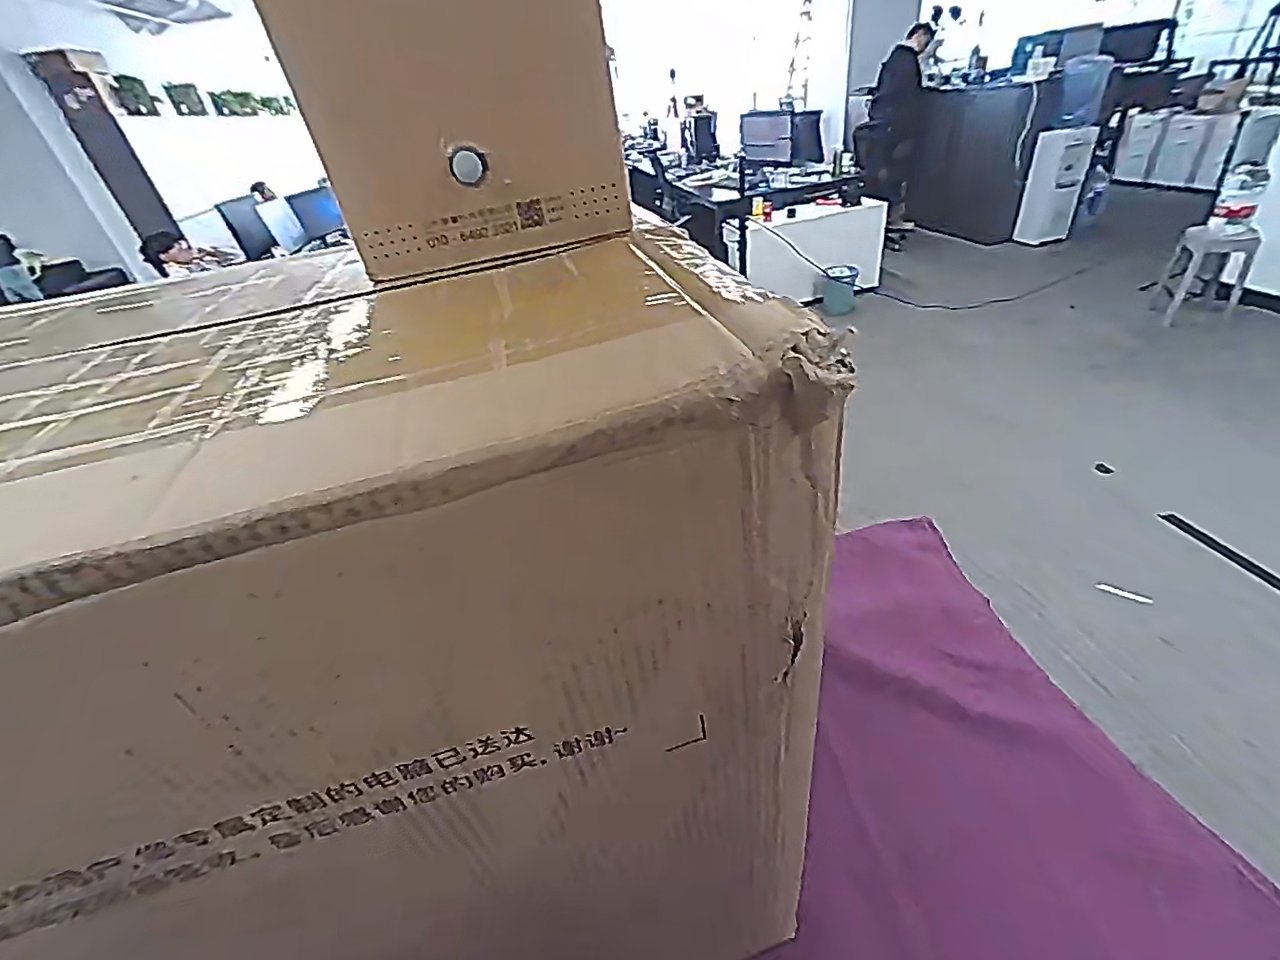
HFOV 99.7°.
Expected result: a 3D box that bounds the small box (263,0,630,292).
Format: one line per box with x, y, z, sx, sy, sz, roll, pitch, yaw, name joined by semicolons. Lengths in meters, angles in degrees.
-0.110;-0.239;0.361;0.168;0.176;0.179;-14;35;-5;small box
